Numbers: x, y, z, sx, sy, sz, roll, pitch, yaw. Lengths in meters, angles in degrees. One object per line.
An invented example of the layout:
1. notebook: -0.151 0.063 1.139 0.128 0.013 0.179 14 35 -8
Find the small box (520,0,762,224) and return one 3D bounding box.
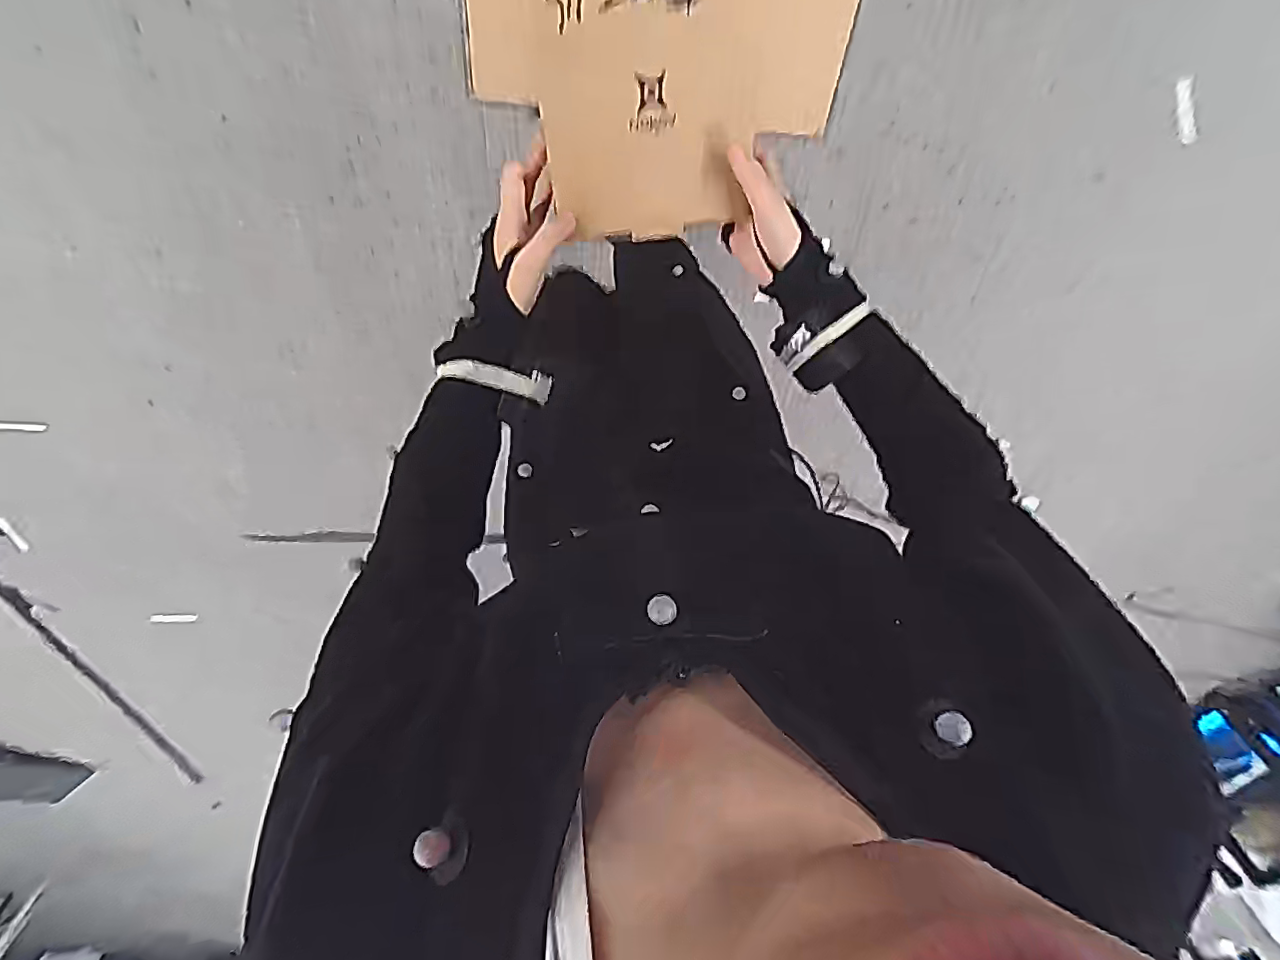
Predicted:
1. small box: -0.006 -0.337 0.455 0.168 0.176 0.179 -10 129 -5
